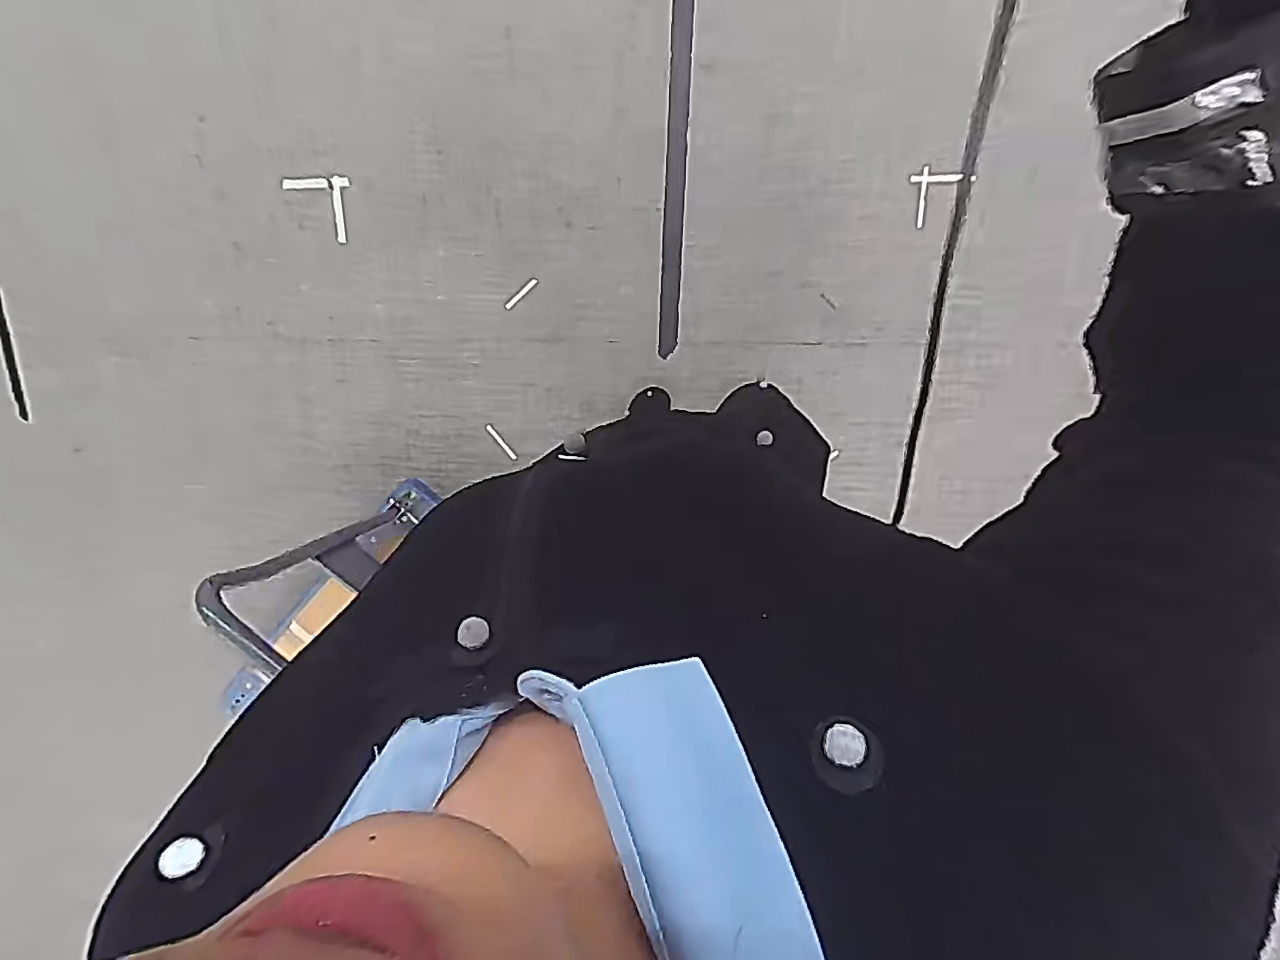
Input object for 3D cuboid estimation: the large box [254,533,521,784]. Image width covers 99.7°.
[{"bbox_3d":[-0.559,0.397,1.273,0.408,0.320,0.320,43,99,-5],"label":"large box"}]
